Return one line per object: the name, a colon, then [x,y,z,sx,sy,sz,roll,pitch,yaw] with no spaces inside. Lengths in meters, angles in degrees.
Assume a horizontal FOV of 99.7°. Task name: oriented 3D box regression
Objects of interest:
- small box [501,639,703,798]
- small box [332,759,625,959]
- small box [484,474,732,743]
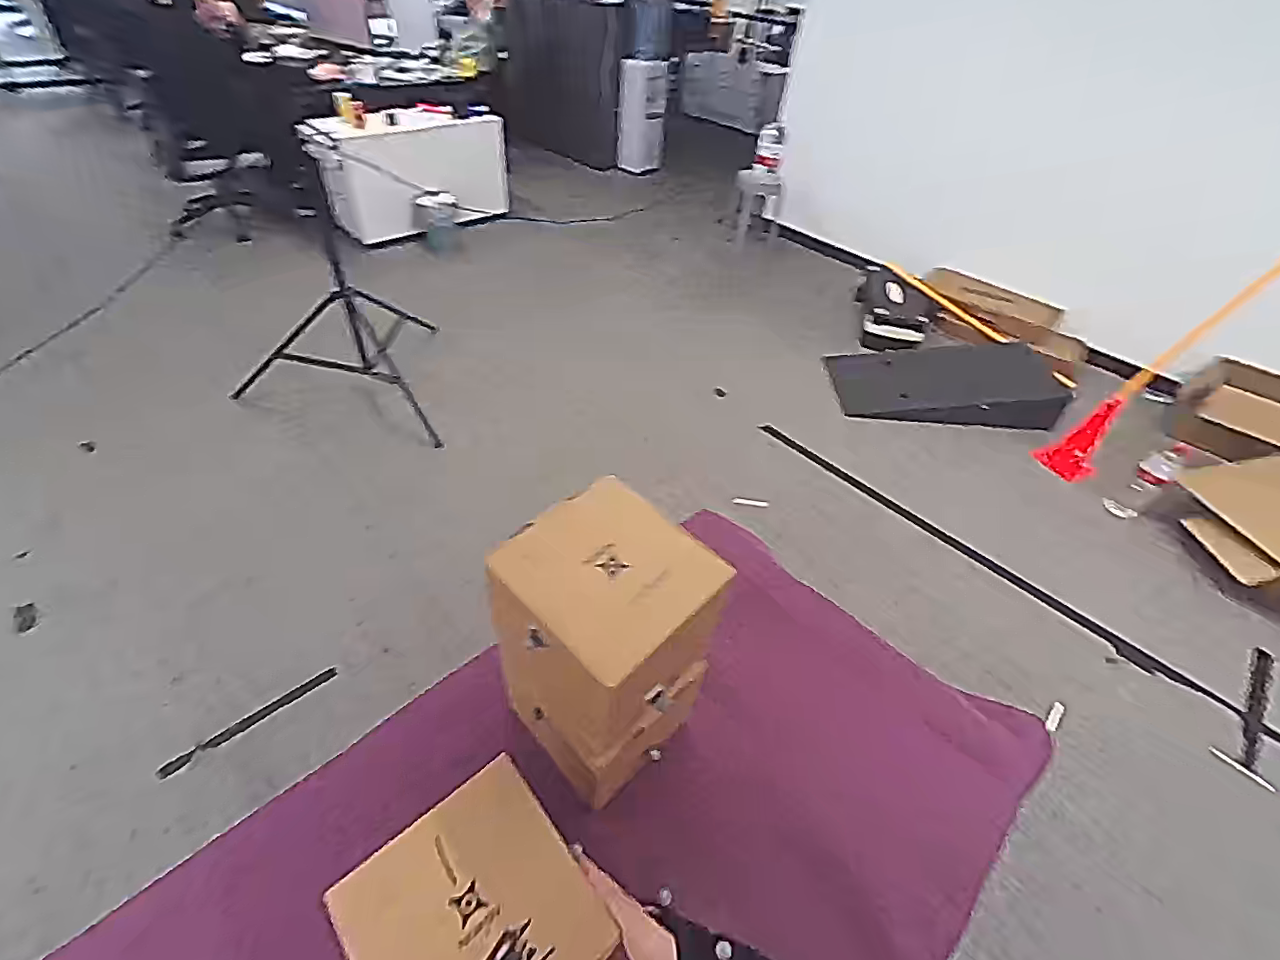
small box: [-0.050,0.251,0.670,0.168,0.176,0.179,-33,58,-32]
small box: [-0.131,0.393,0.477,0.168,0.176,0.179,-30,56,-29]
small box: [-0.036,0.132,0.560,0.179,0.176,0.168,37,53,25]
